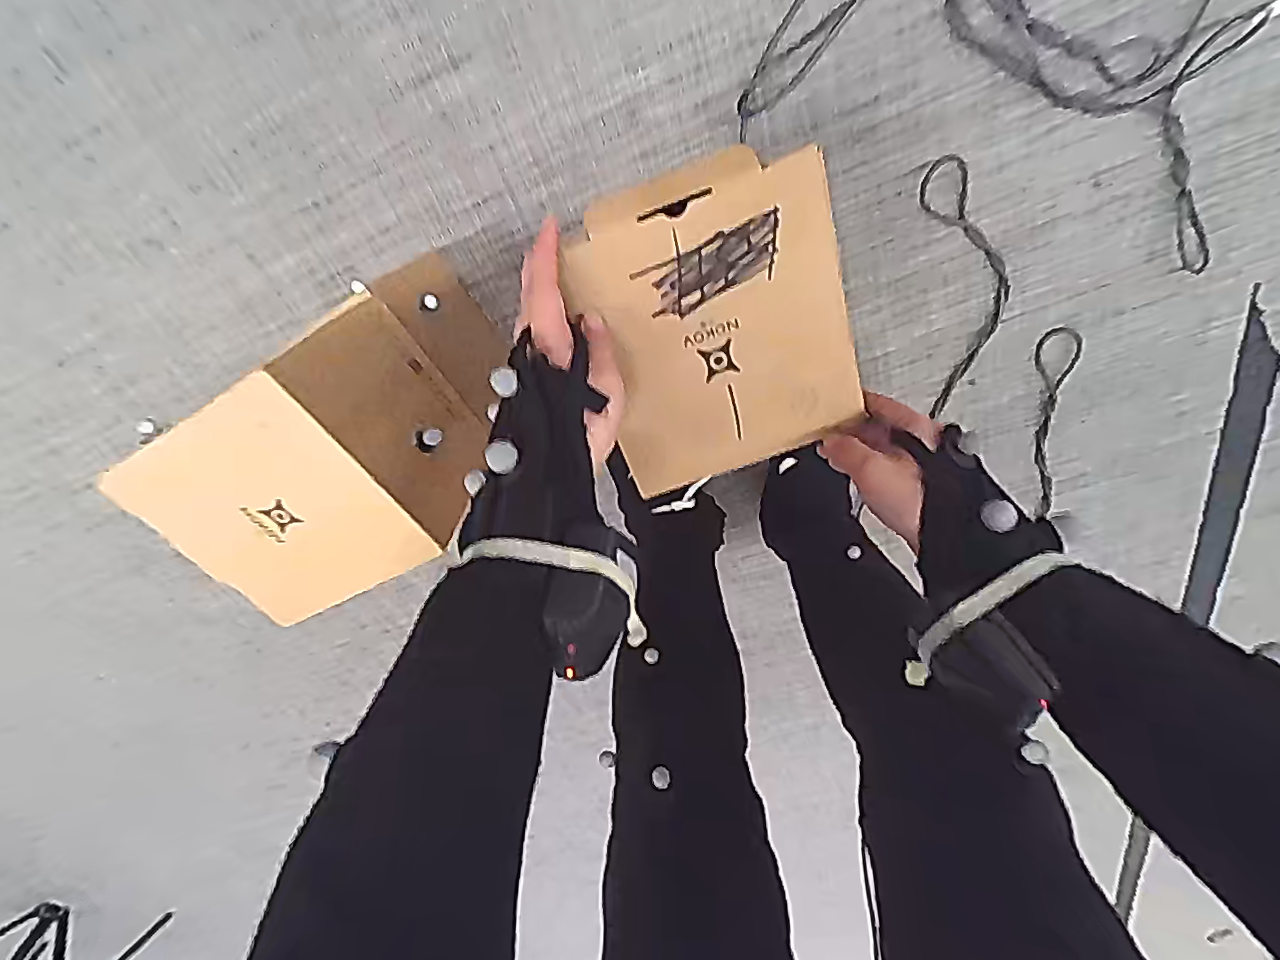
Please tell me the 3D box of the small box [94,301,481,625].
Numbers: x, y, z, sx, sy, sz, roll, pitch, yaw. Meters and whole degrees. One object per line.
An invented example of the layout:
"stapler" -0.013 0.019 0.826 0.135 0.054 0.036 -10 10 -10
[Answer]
"small box" -0.252 -0.020 0.442 0.179 0.176 0.168 -25 119 17

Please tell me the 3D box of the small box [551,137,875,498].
"small box" 0.048 -0.119 0.400 0.168 0.176 0.179 -18 116 7
